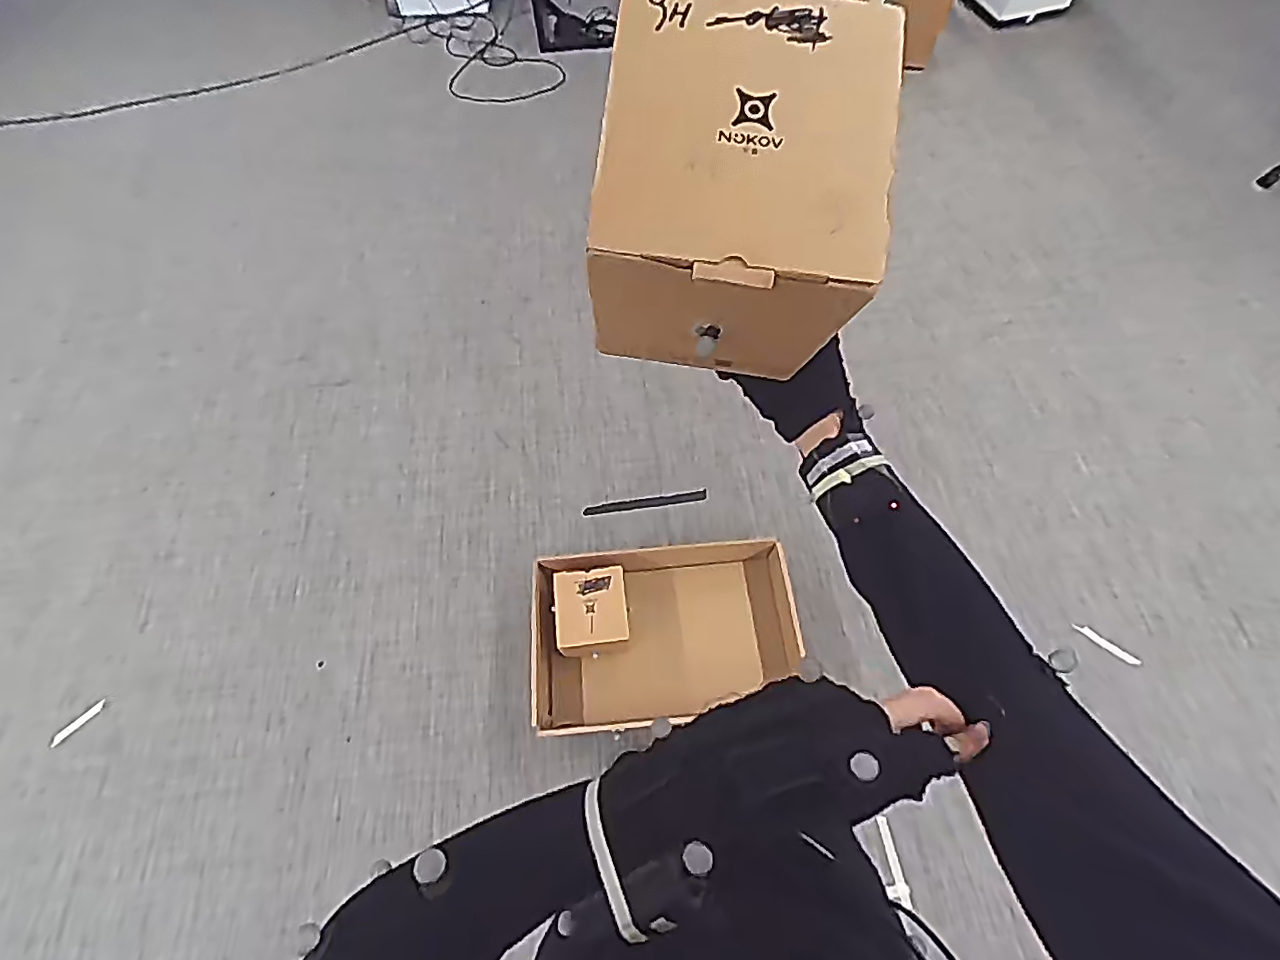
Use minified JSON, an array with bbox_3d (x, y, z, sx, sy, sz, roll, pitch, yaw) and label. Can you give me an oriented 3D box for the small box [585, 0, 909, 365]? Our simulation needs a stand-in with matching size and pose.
[{"bbox_3d":[0.061,-0.194,0.382,0.168,0.176,0.179,8,84,-1],"label":"small box"}]
